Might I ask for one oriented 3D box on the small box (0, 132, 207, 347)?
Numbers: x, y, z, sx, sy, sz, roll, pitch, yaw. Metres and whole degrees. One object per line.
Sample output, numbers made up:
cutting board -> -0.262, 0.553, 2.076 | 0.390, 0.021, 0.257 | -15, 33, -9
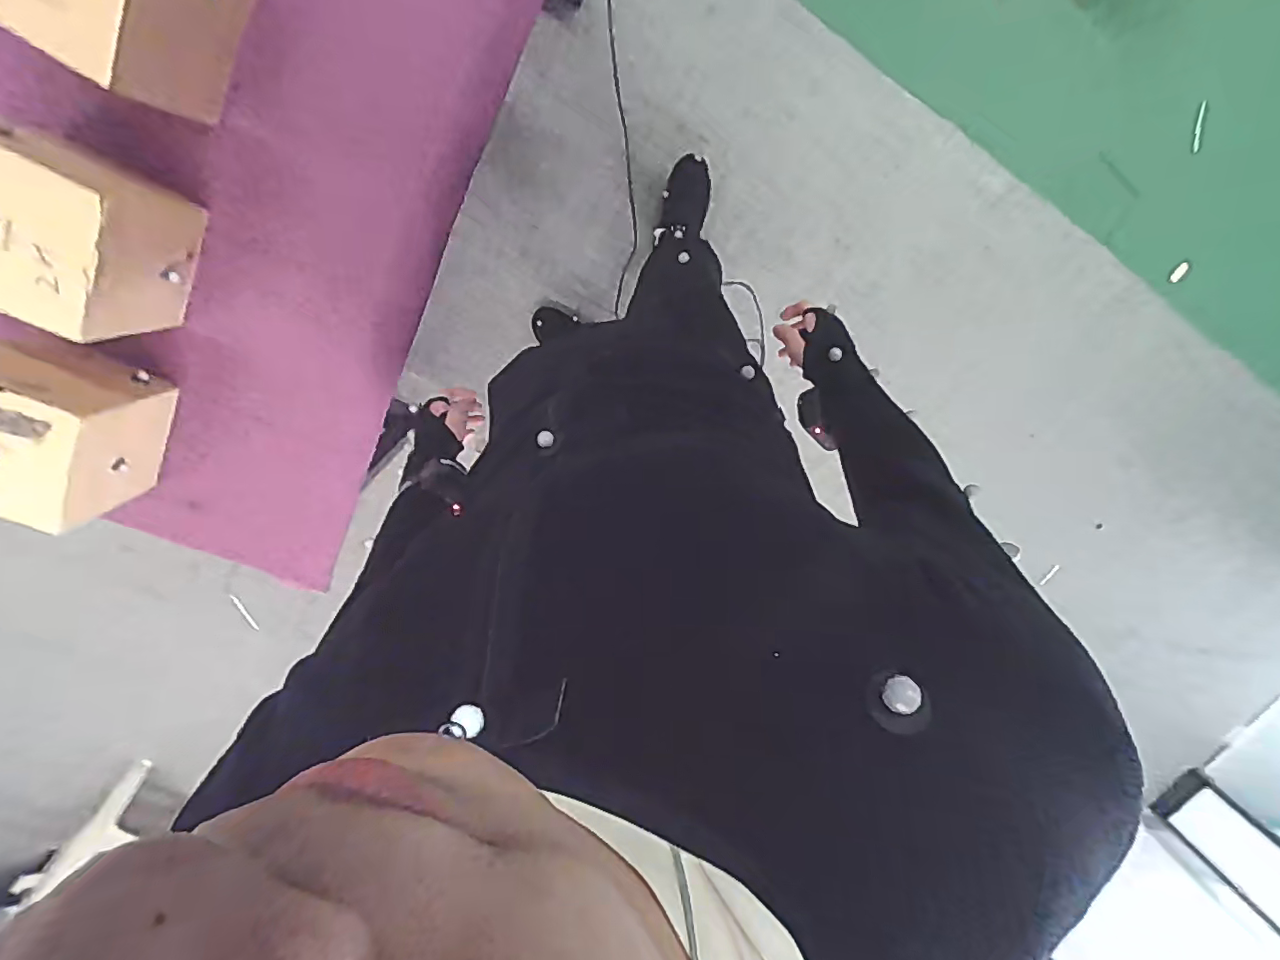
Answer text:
small box -> -0.663, -0.276, 0.626 | 0.179, 0.176, 0.168 | 25, 108, -16

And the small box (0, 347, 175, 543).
small box -> -0.762, -0.054, 0.706 | 0.168, 0.176, 0.179 | 25, 108, -15

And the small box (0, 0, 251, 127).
small box -> -0.540, -0.504, 0.547 | 0.168, 0.176, 0.179 | 29, 107, -16
